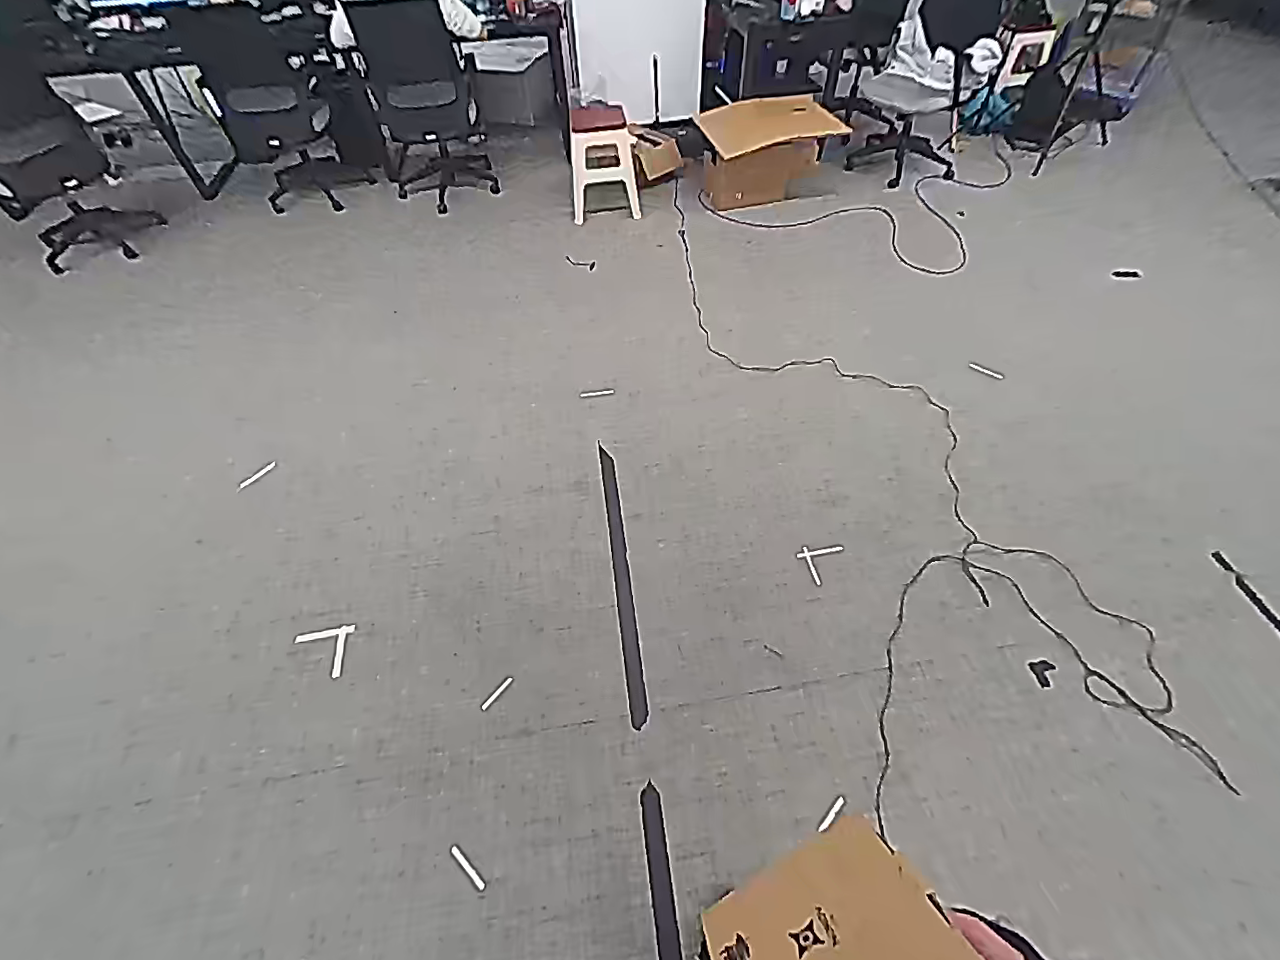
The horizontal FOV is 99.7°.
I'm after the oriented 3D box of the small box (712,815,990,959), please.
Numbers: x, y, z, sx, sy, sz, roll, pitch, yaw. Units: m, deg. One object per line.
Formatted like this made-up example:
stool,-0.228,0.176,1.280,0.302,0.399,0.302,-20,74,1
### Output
small box,0.185,0.427,0.429,0.179,0.168,0.176,-29,90,-5
